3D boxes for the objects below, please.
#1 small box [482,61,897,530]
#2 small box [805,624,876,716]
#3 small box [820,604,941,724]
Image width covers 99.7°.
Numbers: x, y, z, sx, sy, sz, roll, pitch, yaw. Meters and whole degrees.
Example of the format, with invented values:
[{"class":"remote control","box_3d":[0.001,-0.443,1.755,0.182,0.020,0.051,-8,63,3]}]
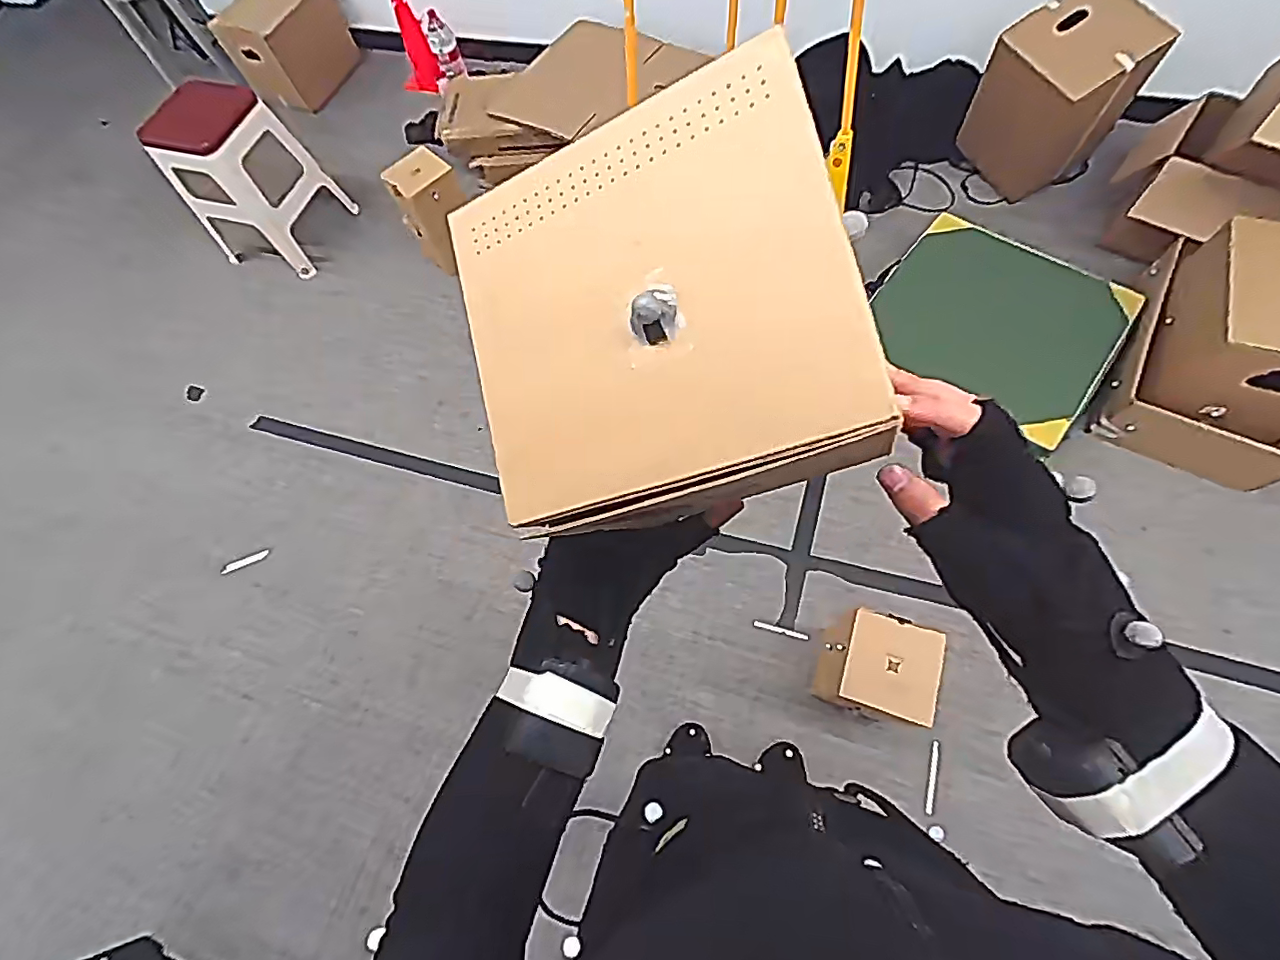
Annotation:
[{"class":"small box","box_3d":[0.029,-0.074,0.313,0.179,0.168,0.176,-17,82,21]},{"class":"small box","box_3d":[0.503,0.435,1.246,0.179,0.176,0.168,18,69,11]},{"class":"small box","box_3d":[0.479,0.373,1.097,0.168,0.176,0.179,17,71,13]}]
